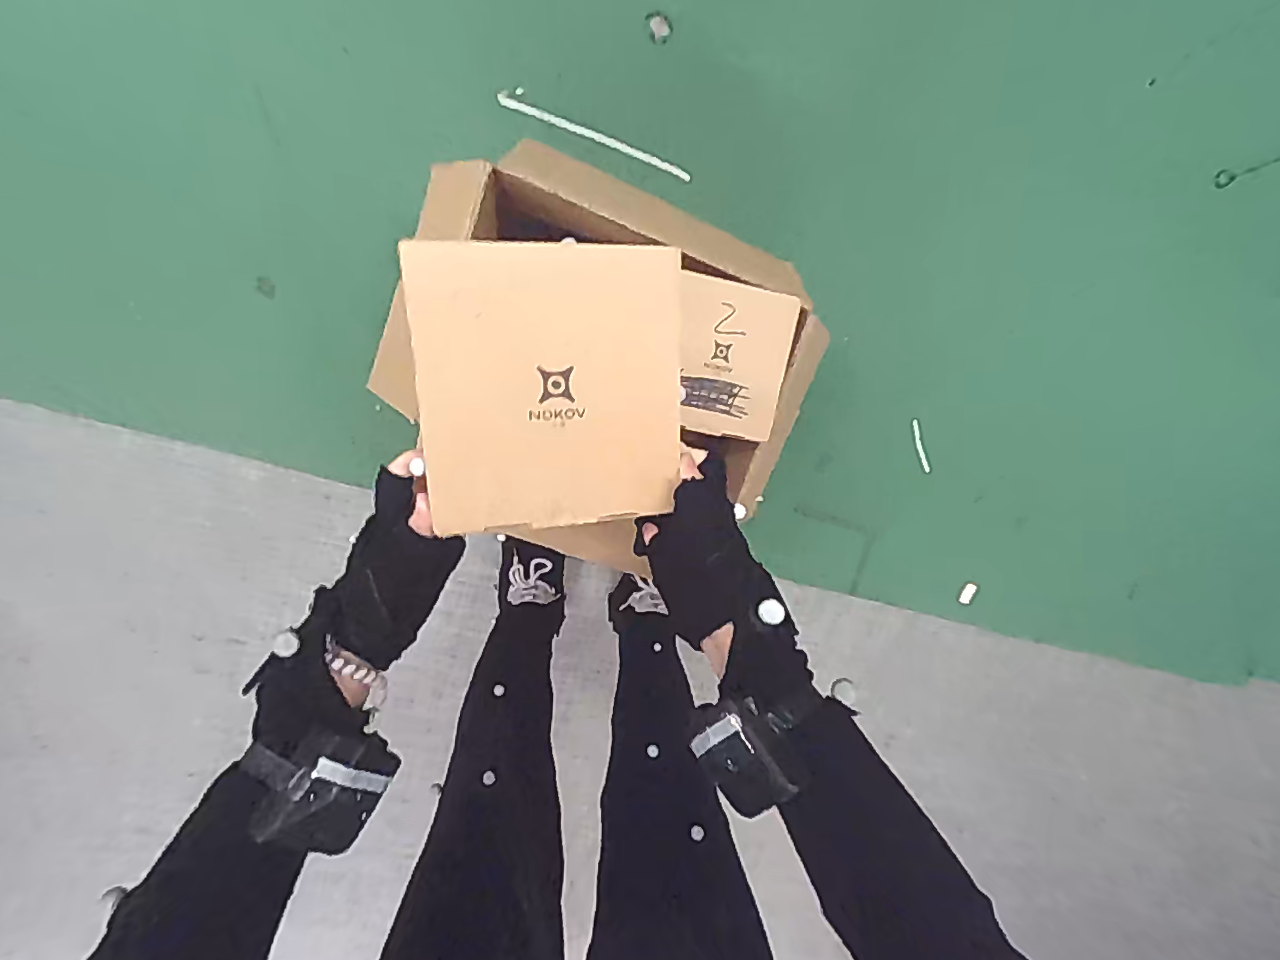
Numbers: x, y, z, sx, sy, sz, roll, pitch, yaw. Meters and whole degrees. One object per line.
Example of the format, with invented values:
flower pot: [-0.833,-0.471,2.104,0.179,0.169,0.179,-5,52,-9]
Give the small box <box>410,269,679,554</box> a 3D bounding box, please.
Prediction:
small box: [-0.075,-0.061,0.422,0.168,0.176,0.179,-6,106,-15]
